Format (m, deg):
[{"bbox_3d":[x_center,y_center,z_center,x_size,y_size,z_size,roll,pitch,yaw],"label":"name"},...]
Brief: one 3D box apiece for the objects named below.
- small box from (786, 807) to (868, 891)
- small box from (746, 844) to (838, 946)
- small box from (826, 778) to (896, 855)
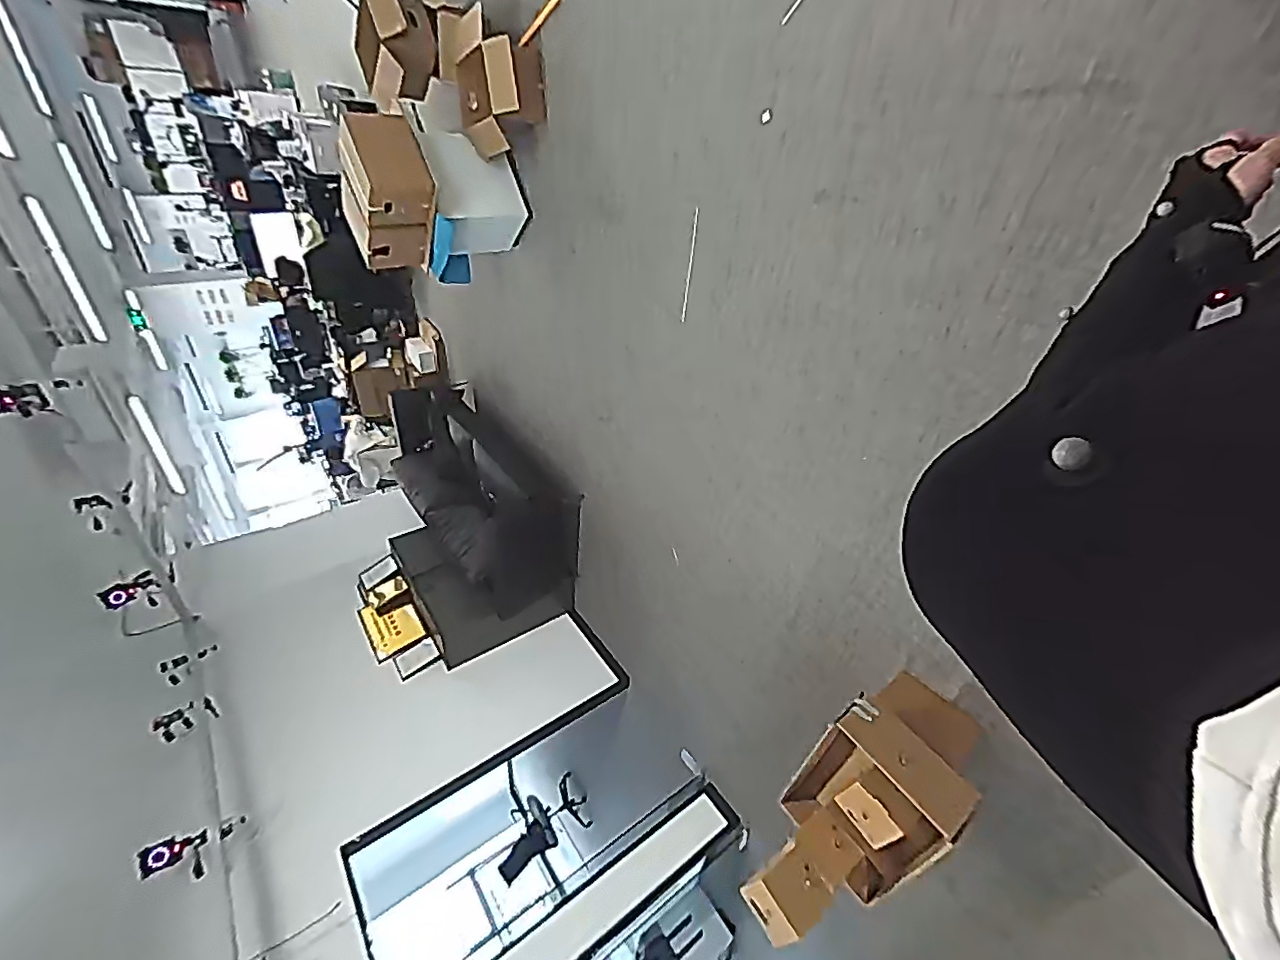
[{"bbox_3d":[0.581,1.179,1.698,0.168,0.176,0.179,42,137,37],"label":"small box"},{"bbox_3d":[0.453,1.231,1.609,0.168,0.176,0.179,49,140,30],"label":"small box"},{"bbox_3d":[0.709,1.135,1.787,0.168,0.176,0.179,42,137,36],"label":"small box"}]
